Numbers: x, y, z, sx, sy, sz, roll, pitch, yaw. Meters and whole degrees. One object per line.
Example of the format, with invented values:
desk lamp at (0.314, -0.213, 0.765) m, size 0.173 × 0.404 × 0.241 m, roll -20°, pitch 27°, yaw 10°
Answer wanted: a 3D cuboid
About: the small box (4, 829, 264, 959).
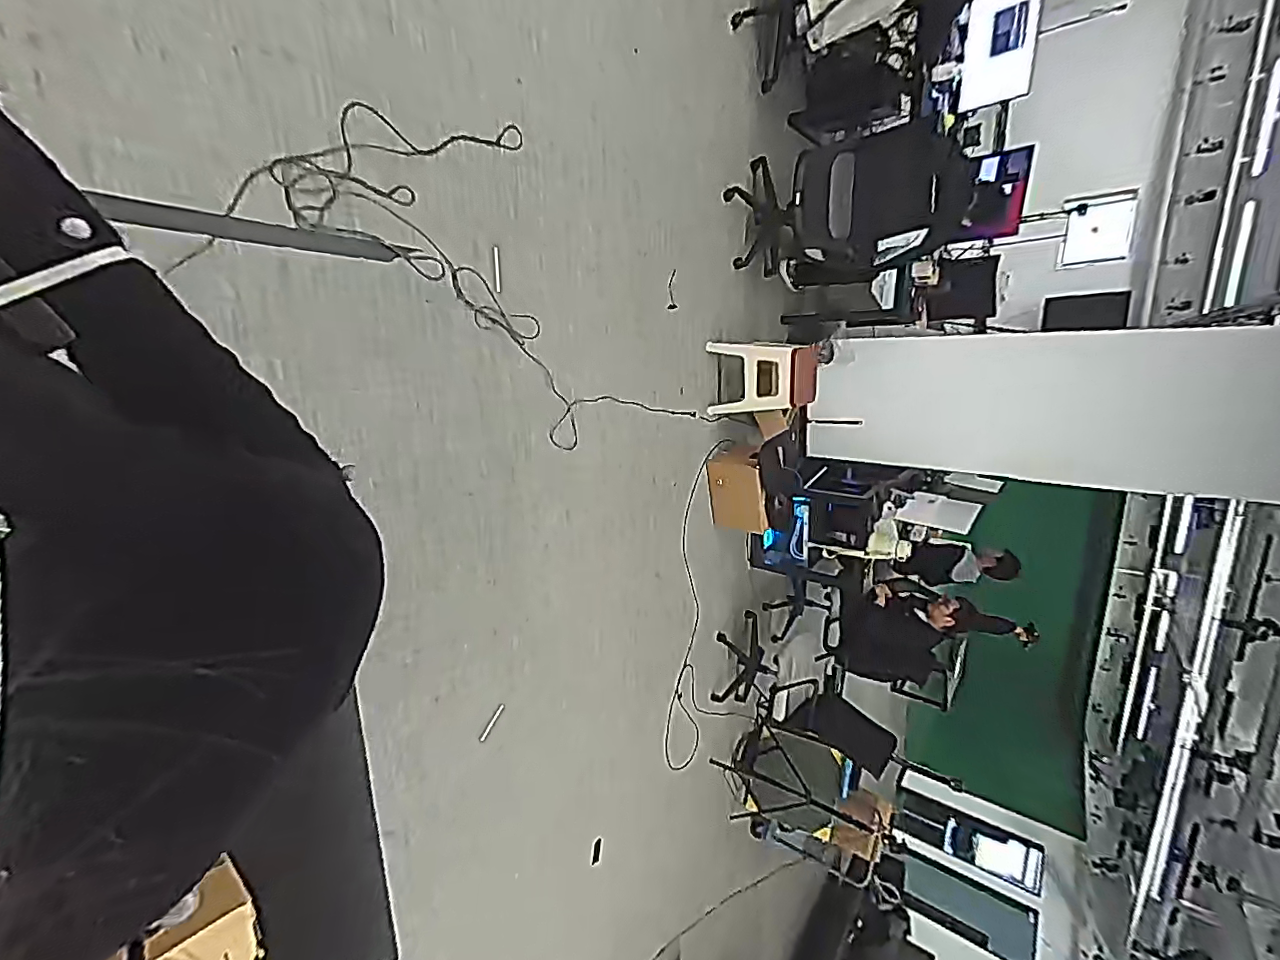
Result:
small box at (-0.543, 0.537, 0.593) m, size 0.179 × 0.176 × 0.168 m, roll -15°, pitch 108°, yaw -50°
